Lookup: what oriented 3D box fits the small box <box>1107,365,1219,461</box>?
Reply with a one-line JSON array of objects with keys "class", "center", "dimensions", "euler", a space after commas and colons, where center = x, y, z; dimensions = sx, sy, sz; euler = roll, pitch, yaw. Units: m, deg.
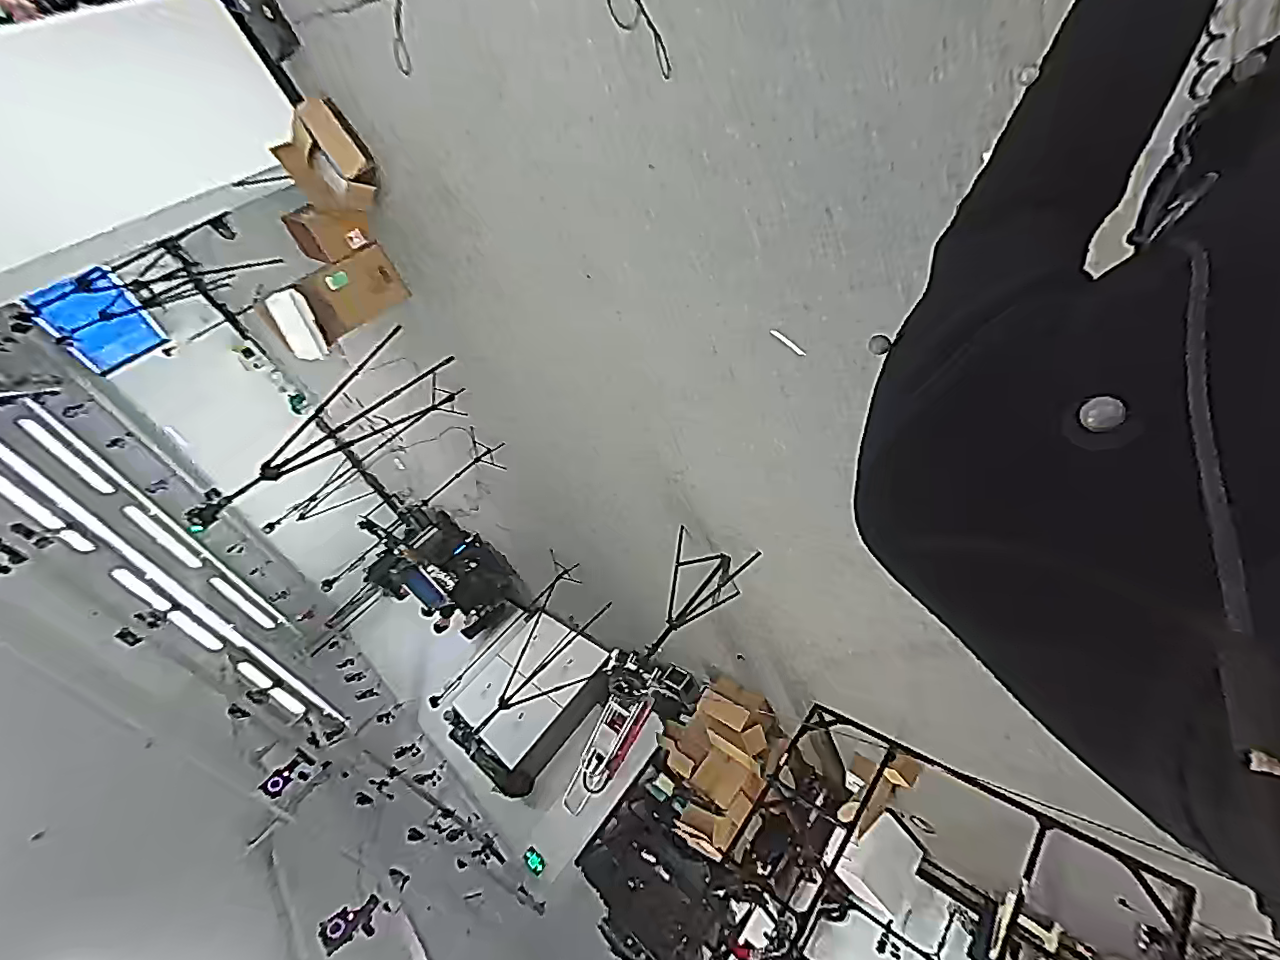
[{"class": "small box", "center": [1.280, -0.169, 1.326], "dimensions": [0.179, 0.176, 0.168], "euler": [12, 139, 49]}]
